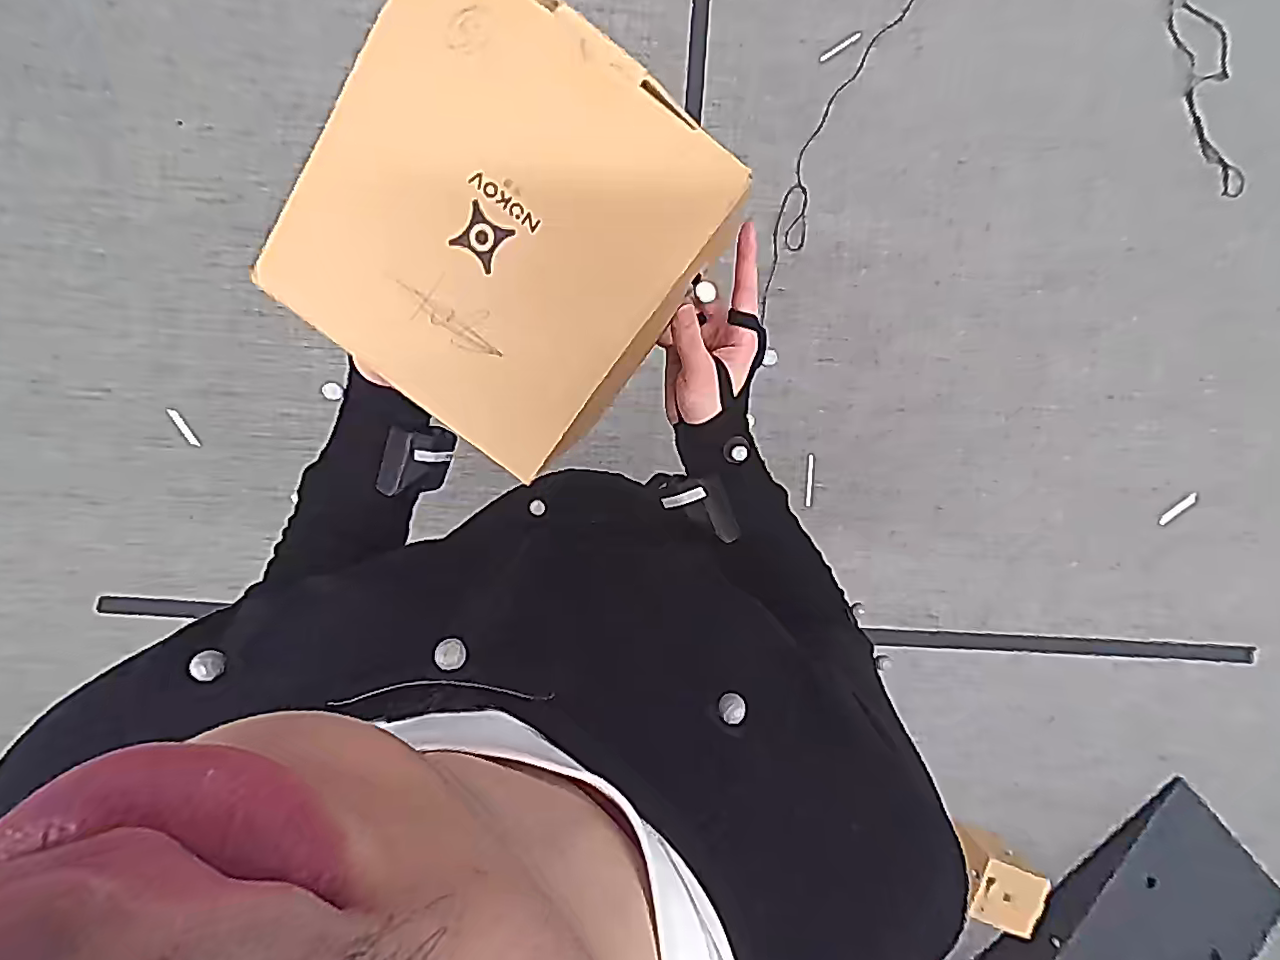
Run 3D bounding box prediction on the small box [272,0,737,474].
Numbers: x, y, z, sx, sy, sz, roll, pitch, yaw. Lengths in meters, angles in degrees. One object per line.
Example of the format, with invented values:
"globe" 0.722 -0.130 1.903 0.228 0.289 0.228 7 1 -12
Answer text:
"small box" -0.064 -0.136 0.332 0.168 0.176 0.179 36 106 -4
